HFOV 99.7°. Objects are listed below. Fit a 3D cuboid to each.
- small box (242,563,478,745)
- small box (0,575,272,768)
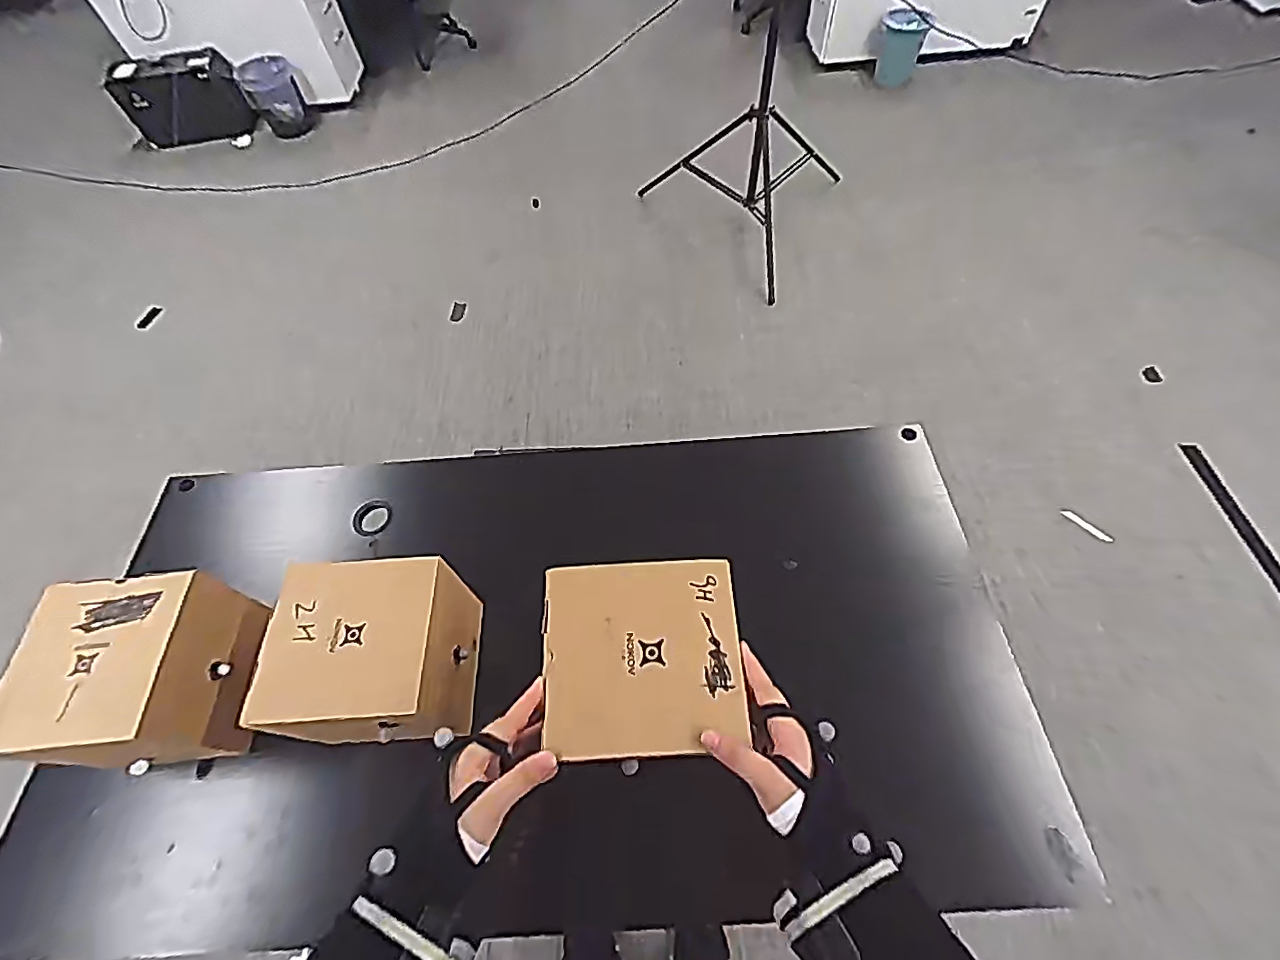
[{"bbox_3d":[-0.301,0.208,0.631,0.179,0.176,0.168,-4,58,0],"label":"small box"},{"bbox_3d":[-0.568,0.229,0.634,0.168,0.176,0.179,-6,60,0],"label":"small box"}]
